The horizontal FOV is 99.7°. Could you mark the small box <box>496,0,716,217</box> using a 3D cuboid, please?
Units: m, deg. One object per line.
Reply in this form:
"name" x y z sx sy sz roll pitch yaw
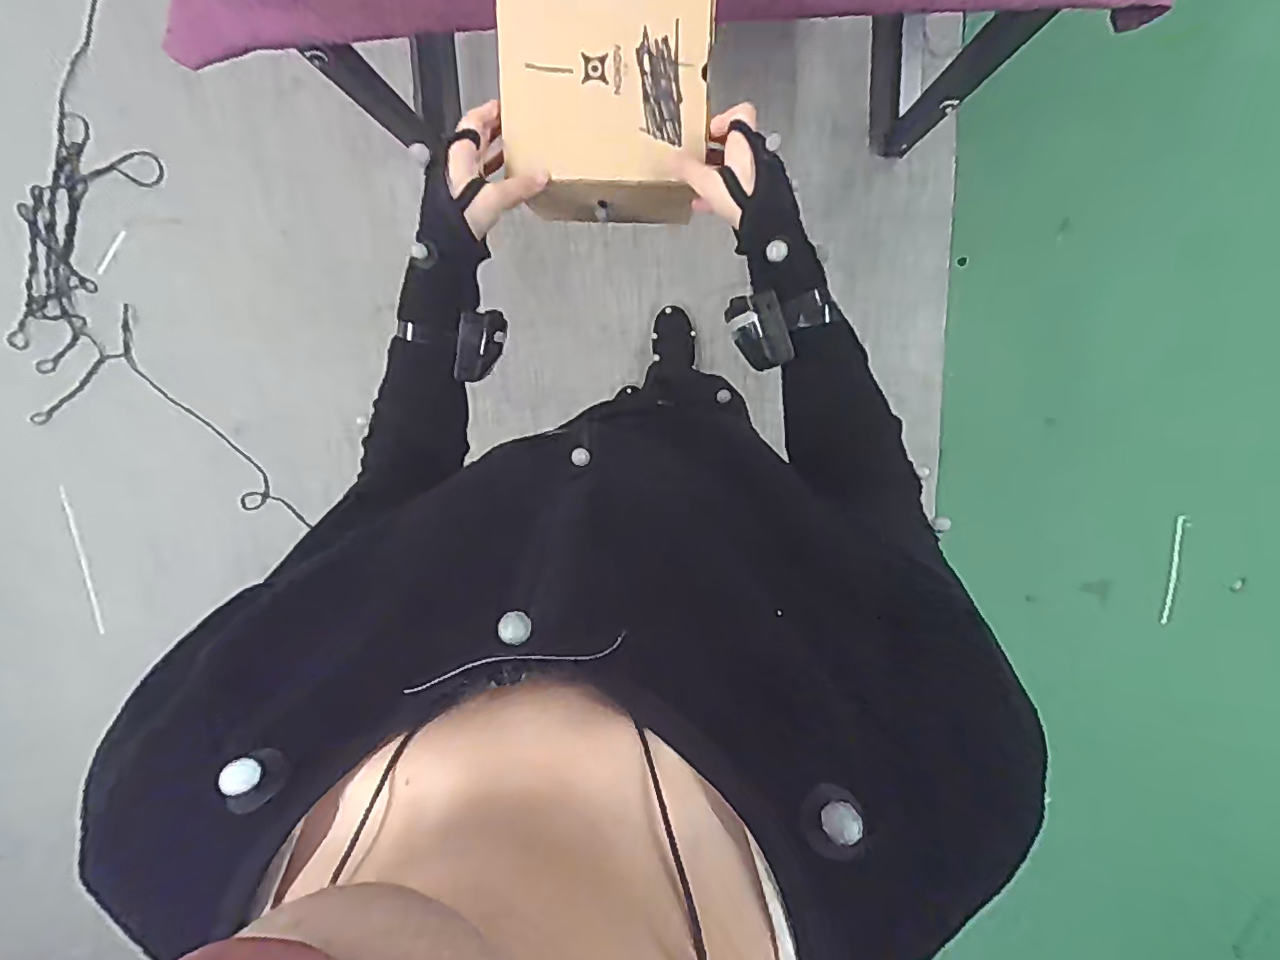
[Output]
"small box" -0.029 -0.358 0.513 0.179 0.176 0.168 2 104 0
